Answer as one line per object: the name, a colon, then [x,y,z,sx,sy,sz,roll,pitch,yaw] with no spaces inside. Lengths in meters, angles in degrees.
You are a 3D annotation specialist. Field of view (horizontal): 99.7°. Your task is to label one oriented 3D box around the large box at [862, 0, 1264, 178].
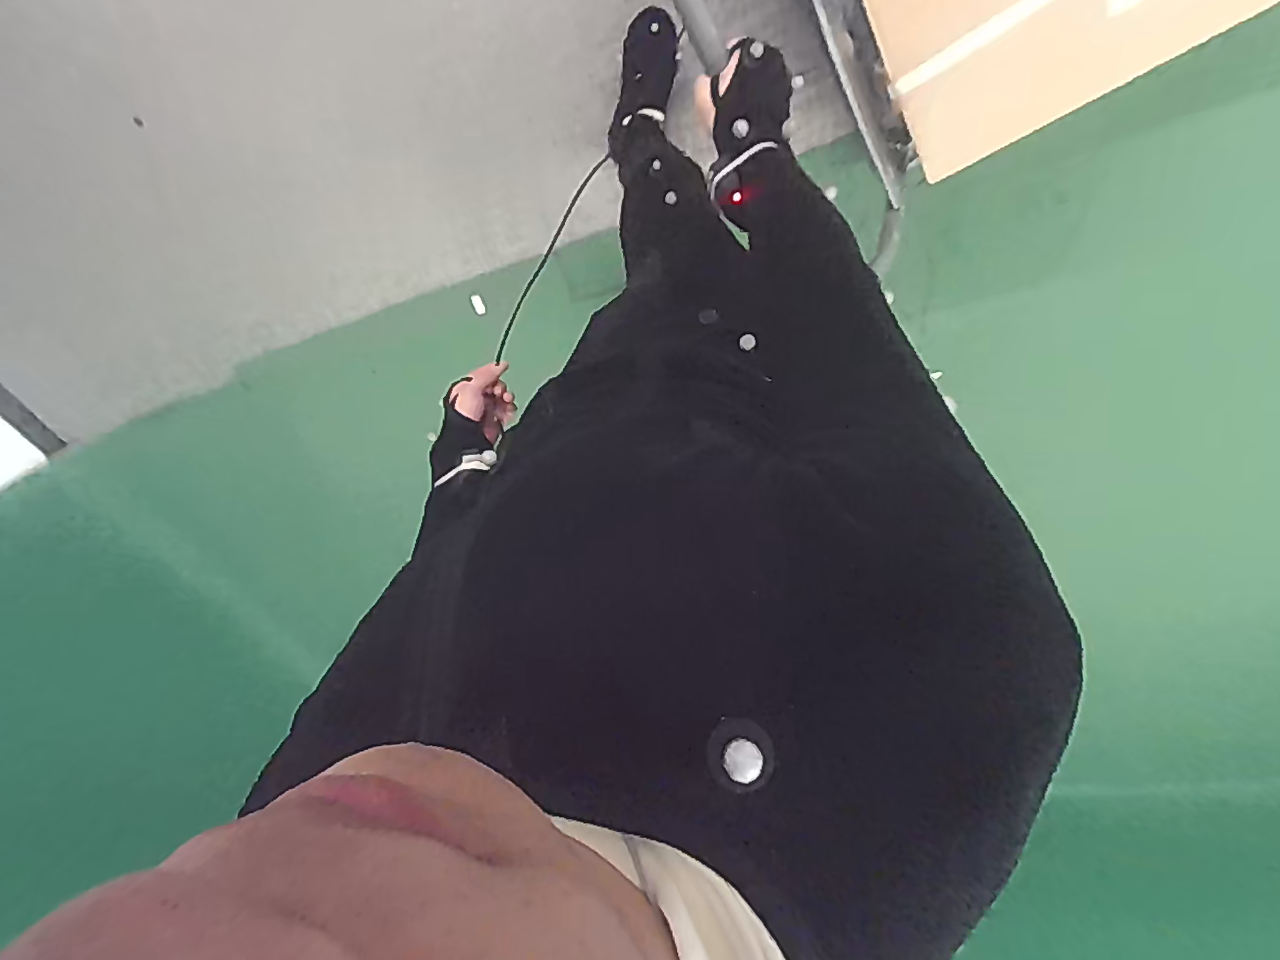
large box: [0.573,-0.735,0.786,0.408,0.320,0.320,-18,123,36]
